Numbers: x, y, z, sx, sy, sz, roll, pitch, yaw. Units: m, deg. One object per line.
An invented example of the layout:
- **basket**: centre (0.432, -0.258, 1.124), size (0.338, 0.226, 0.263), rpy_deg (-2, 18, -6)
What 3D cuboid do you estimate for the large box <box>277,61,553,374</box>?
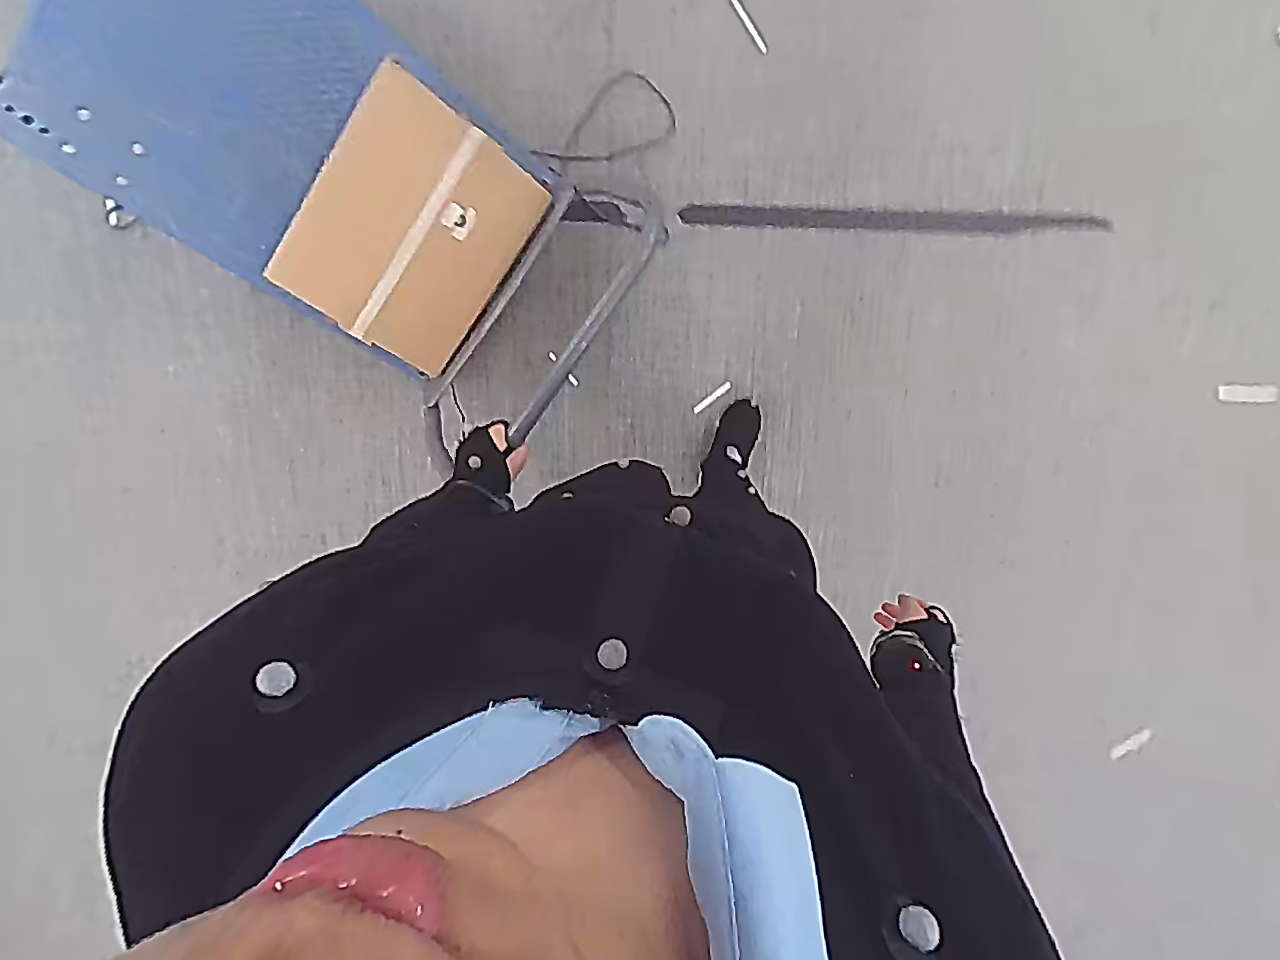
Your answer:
- **large box**: centre (-0.428, -0.485, 1.073), size (0.320, 0.320, 0.408), rpy_deg (32, 100, -29)
